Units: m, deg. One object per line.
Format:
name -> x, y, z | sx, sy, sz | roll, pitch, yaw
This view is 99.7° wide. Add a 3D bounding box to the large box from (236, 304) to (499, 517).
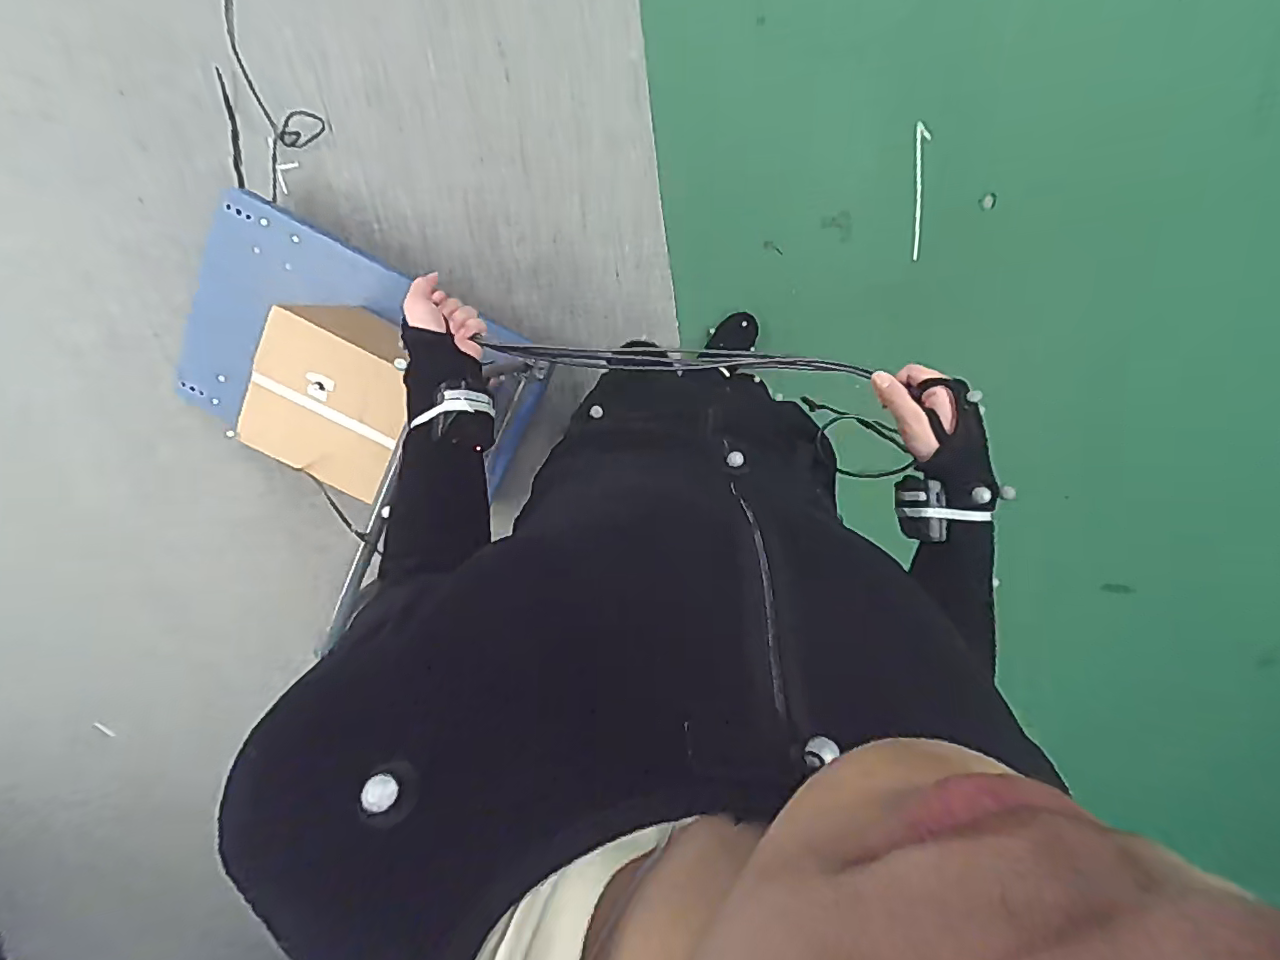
large box -> -0.605, -0.175, 1.262 | 0.408, 0.320, 0.320 | 28, 106, -5
